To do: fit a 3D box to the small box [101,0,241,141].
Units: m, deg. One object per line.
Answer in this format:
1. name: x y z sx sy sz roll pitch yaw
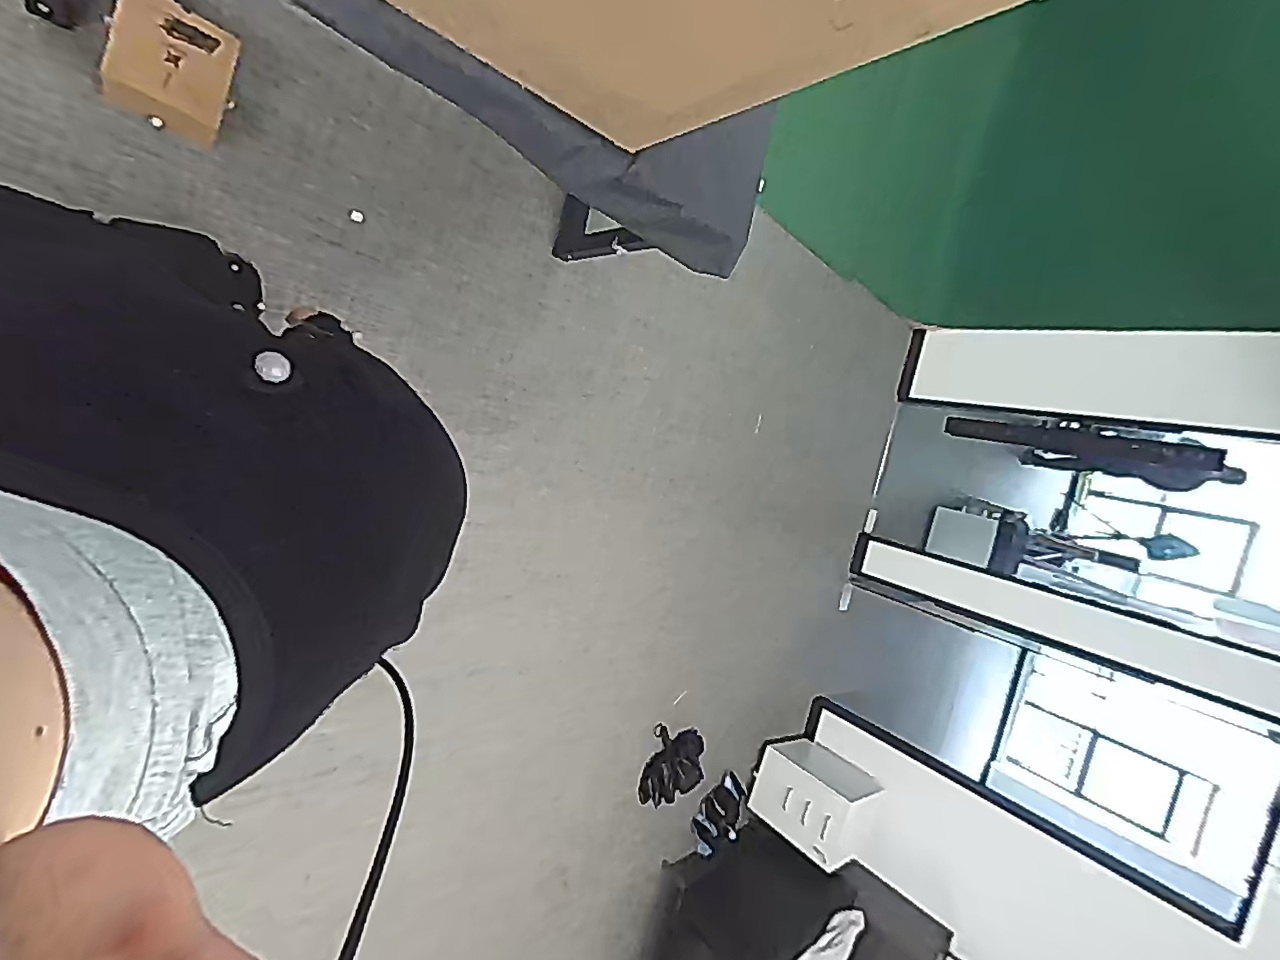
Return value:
1. small box: -0.892 -0.792 1.031 0.168 0.176 0.179 15 93 -43
